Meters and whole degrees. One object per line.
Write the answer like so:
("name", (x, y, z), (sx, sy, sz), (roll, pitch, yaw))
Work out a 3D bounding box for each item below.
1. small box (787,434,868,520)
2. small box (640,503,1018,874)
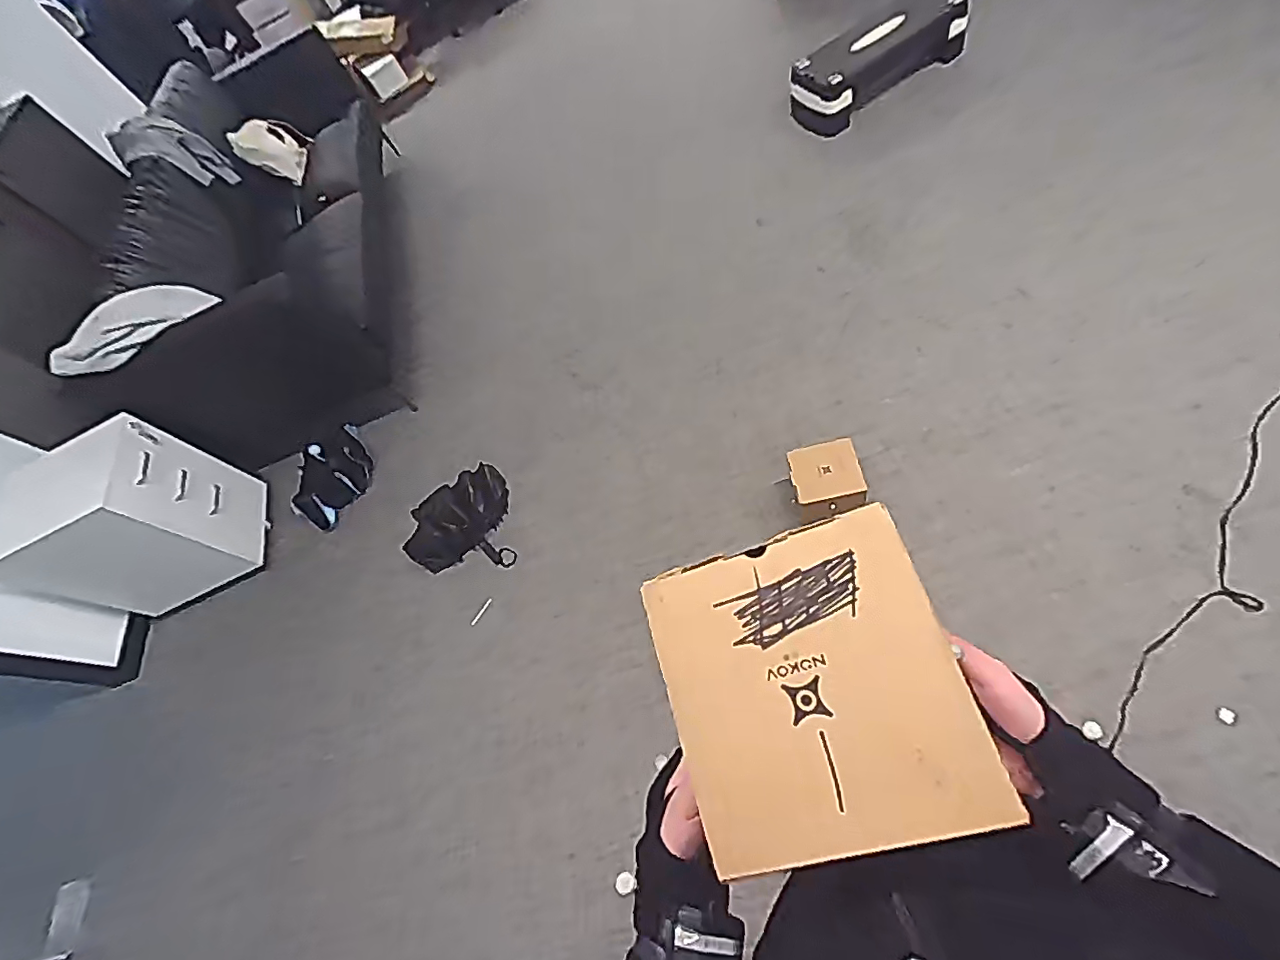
("small box", (0.525, -0.002, 1.519), (0.179, 0.176, 0.168), (-14, 62, 12))
("small box", (0.121, 0.139, 0.387), (0.168, 0.176, 0.179), (-22, 69, 15))
